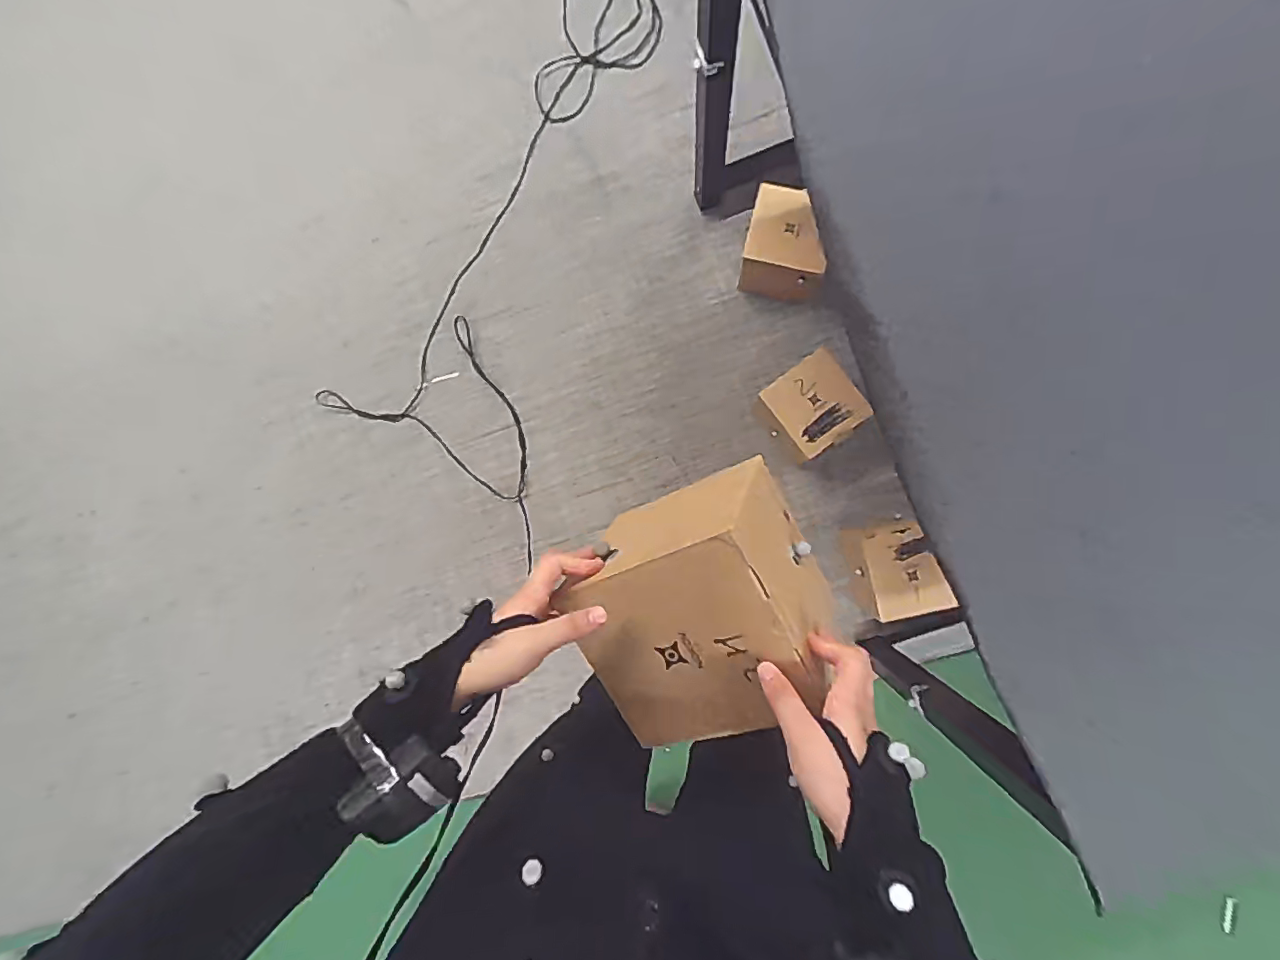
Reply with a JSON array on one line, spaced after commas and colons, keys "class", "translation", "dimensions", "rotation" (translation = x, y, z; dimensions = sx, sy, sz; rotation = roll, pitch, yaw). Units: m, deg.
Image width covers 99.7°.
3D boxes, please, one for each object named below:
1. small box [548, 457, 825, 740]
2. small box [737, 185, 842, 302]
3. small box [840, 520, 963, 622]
[{"class": "small box", "translation": [0.056, 0.101, 0.497], "dimensions": [0.179, 0.176, 0.168], "rotation": [-25, 100, 26]}, {"class": "small box", "translation": [0.322, -0.516, 1.201], "dimensions": [0.179, 0.176, 0.168], "rotation": [14, 89, 5]}, {"class": "small box", "translation": [0.544, 0.184, 1.150], "dimensions": [0.168, 0.176, 0.179], "rotation": [-13, 88, 5]}]
